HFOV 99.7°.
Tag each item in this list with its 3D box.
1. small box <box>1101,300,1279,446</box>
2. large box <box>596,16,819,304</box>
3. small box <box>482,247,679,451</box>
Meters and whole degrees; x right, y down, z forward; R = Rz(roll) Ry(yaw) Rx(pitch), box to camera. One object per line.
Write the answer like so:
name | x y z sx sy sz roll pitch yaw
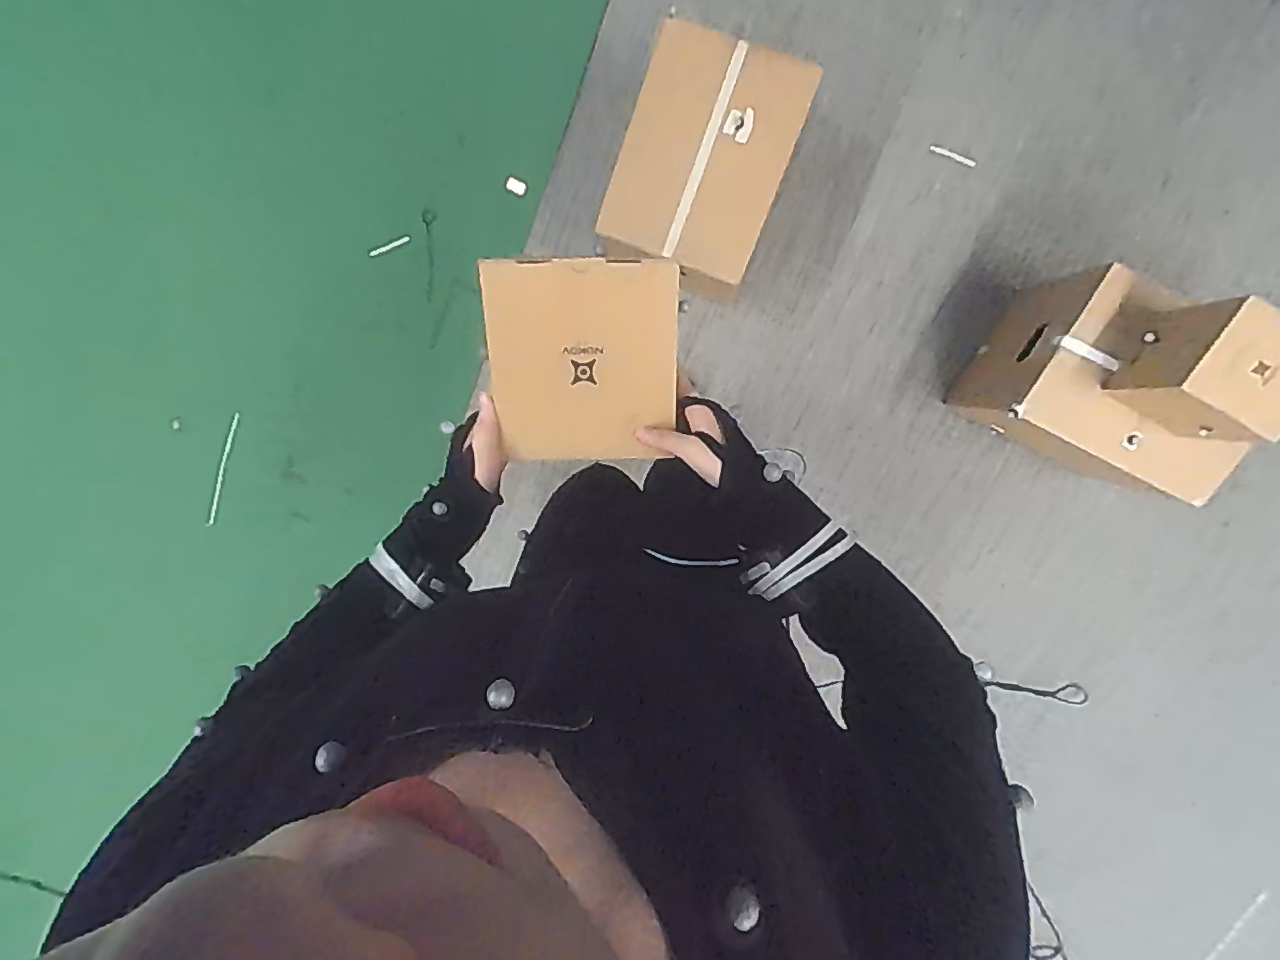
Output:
small box | 0.961 -0.178 0.918 0.179 0.176 0.168 32 100 0
large box | 0.137 -0.647 1.174 0.320 0.320 0.408 22 102 2
small box | -0.050 -0.140 0.549 0.168 0.176 0.179 -1 113 -1
